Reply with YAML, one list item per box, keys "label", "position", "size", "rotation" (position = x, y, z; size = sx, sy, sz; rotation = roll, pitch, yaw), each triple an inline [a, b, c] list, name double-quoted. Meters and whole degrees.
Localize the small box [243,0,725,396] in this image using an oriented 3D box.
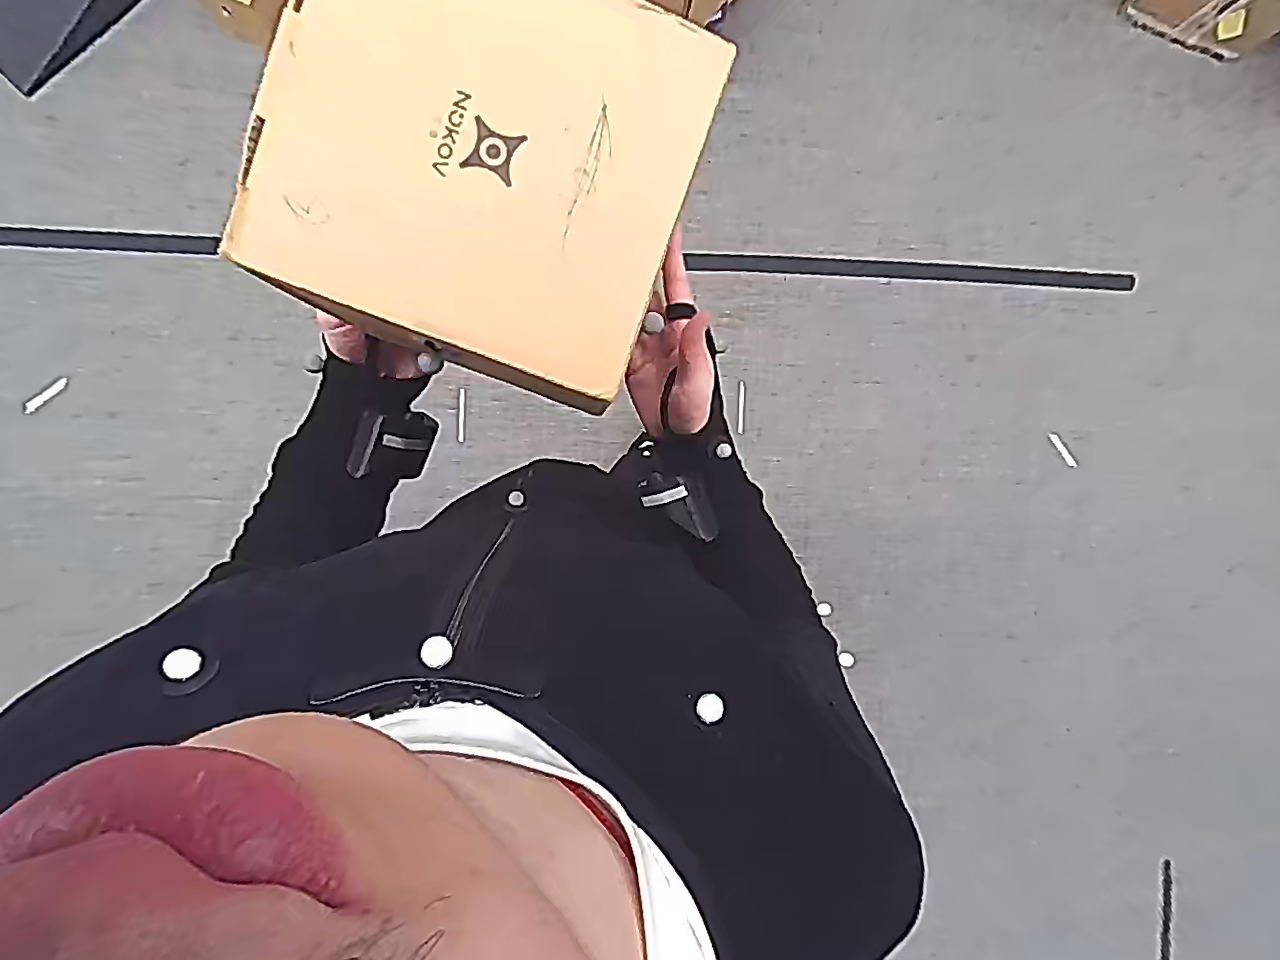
- label: "small box"
  position: [-0.076, -0.155, 0.322]
  size: [0.179, 0.176, 0.168]
  rotation: [18, 92, -8]
